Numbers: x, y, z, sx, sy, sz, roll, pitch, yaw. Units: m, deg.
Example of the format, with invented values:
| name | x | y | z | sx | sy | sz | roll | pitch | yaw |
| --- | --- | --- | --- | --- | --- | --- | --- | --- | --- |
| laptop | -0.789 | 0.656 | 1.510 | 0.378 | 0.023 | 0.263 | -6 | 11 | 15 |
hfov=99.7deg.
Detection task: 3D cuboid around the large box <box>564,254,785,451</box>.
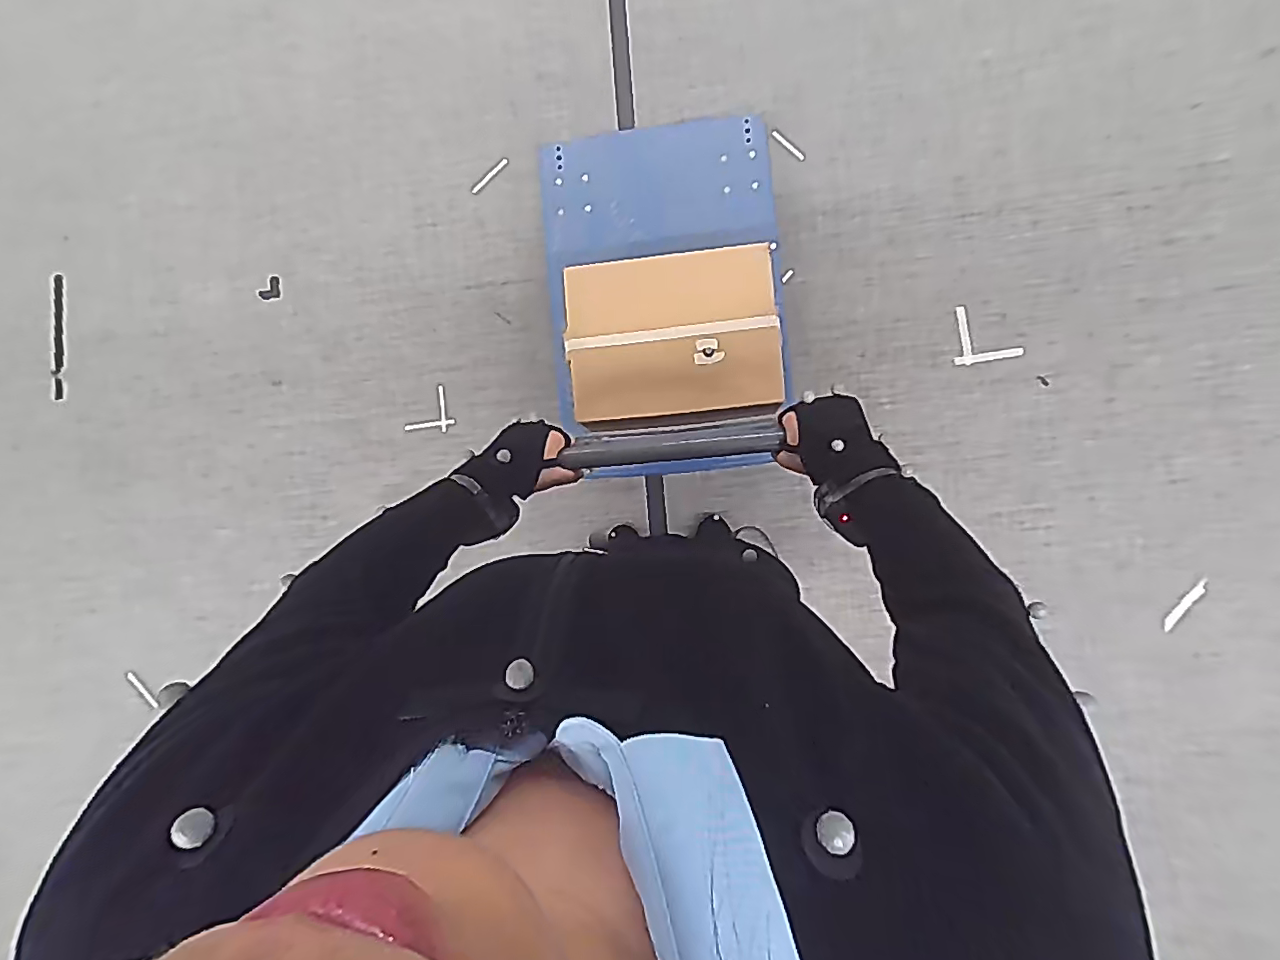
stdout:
| name | x | y | z | sx | sy | sz | roll | pitch | yaw |
| --- | --- | --- | --- | --- | --- | --- | --- | --- | --- |
| large box | 0.072 | -0.251 | 1.179 | 0.408 | 0.320 | 0.320 | -5 | 87 | 4 |
